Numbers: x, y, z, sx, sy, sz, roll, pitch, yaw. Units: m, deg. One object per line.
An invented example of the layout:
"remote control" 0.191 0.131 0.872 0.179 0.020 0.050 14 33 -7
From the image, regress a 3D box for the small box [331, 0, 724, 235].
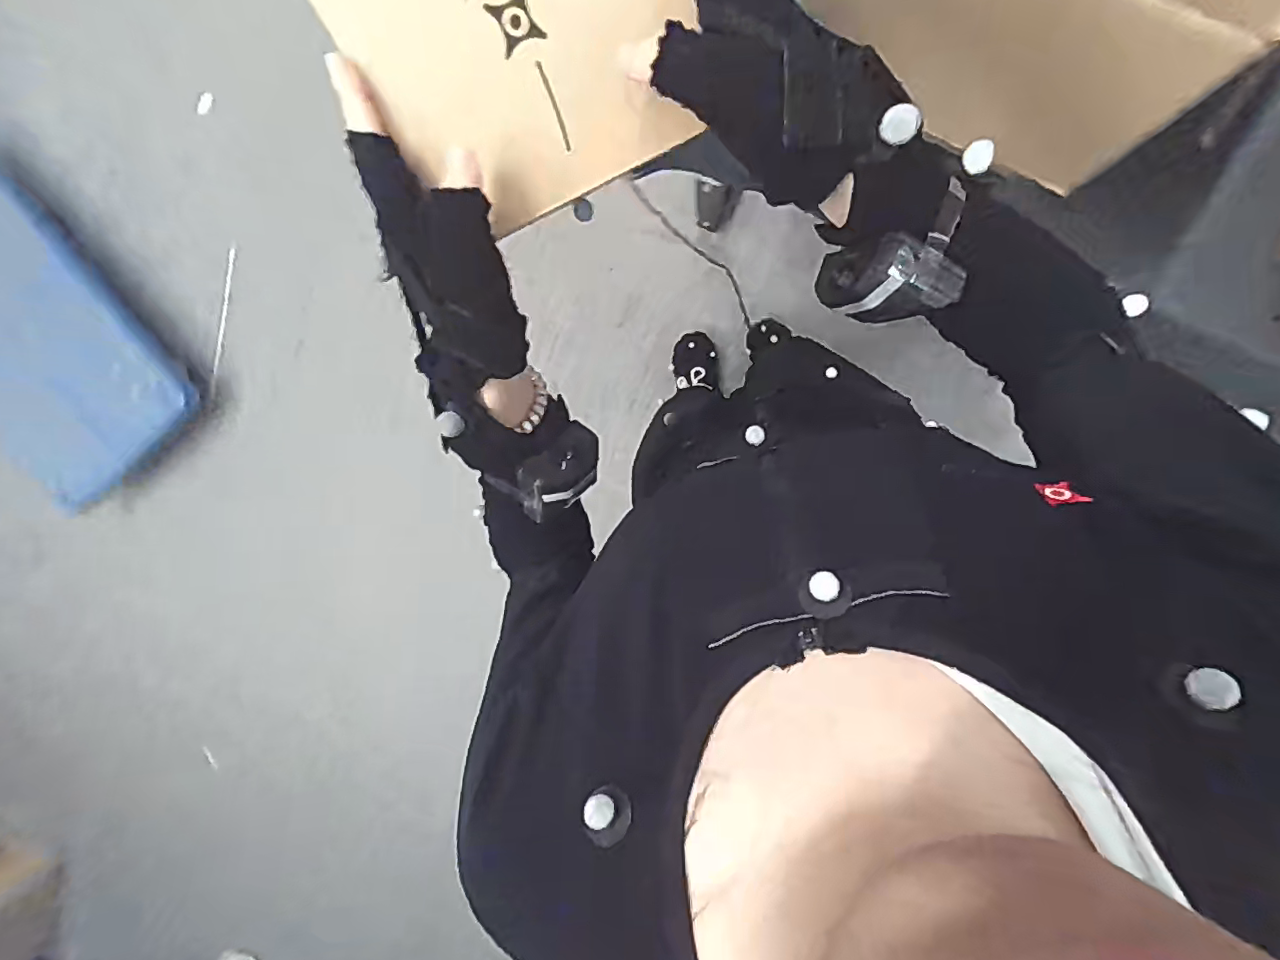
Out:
"small box" -0.071 -0.269 0.324 0.168 0.176 0.179 -23 119 4
